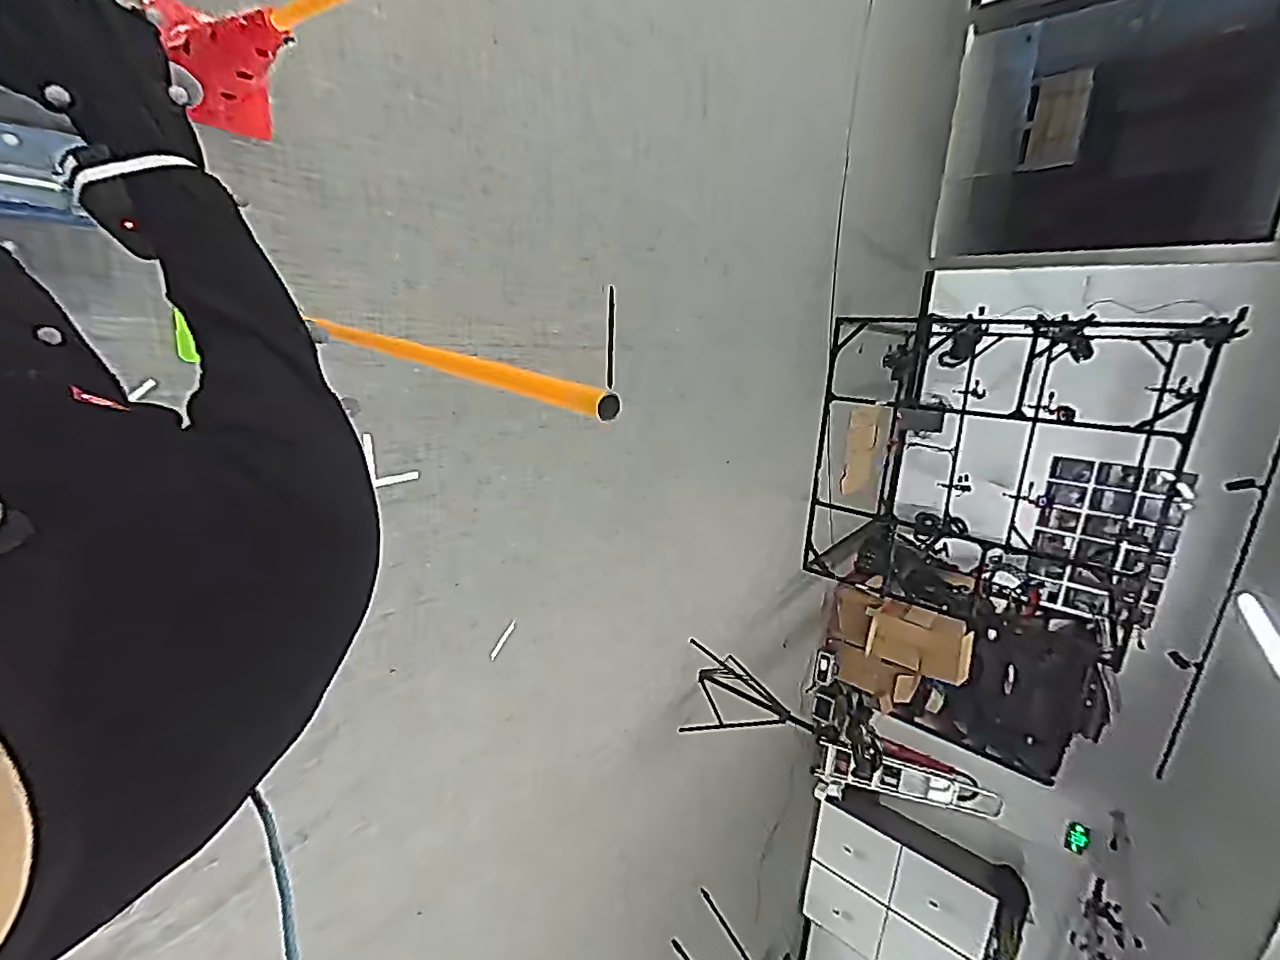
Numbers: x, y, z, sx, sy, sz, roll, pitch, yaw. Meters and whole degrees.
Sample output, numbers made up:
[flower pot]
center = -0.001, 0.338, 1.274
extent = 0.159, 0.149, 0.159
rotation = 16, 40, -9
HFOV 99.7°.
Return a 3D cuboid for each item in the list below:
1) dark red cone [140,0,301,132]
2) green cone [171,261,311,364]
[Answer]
[dark red cone]
center = -0.719, -0.798, 0.979
extent = 0.201, 0.394, 0.202
rotation = -16, 114, -51
[green cone]
center = -0.770, -0.330, 1.096
extent = 0.202, 0.368, 0.200
rotation = -10, 109, -52
